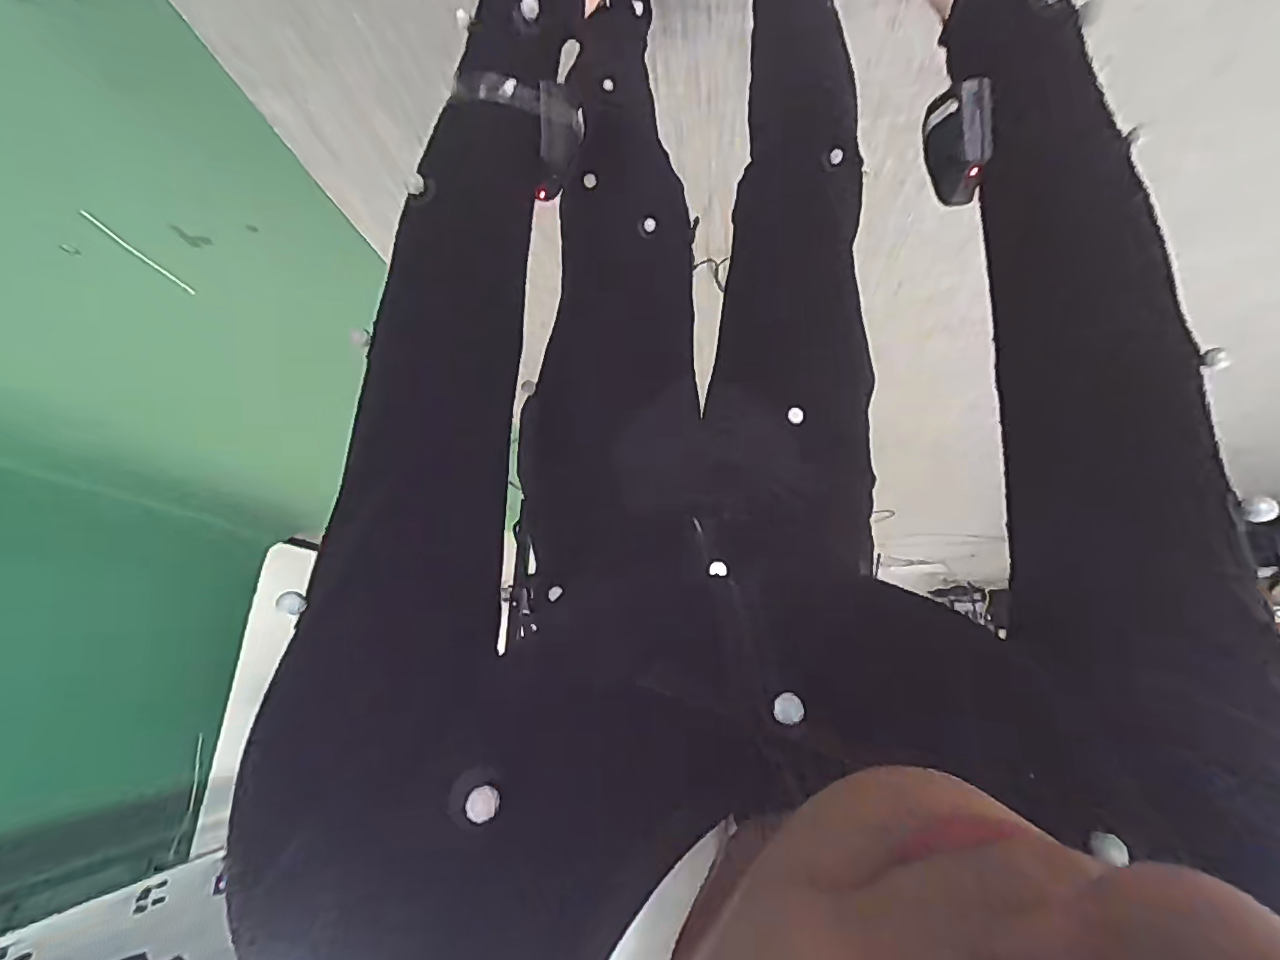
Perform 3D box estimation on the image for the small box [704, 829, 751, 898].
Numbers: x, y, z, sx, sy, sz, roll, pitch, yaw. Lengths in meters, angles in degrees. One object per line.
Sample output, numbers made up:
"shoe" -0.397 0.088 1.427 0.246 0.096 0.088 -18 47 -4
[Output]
"small box" 0.325 1.434 2.034 0.168 0.176 0.179 0 163 8
